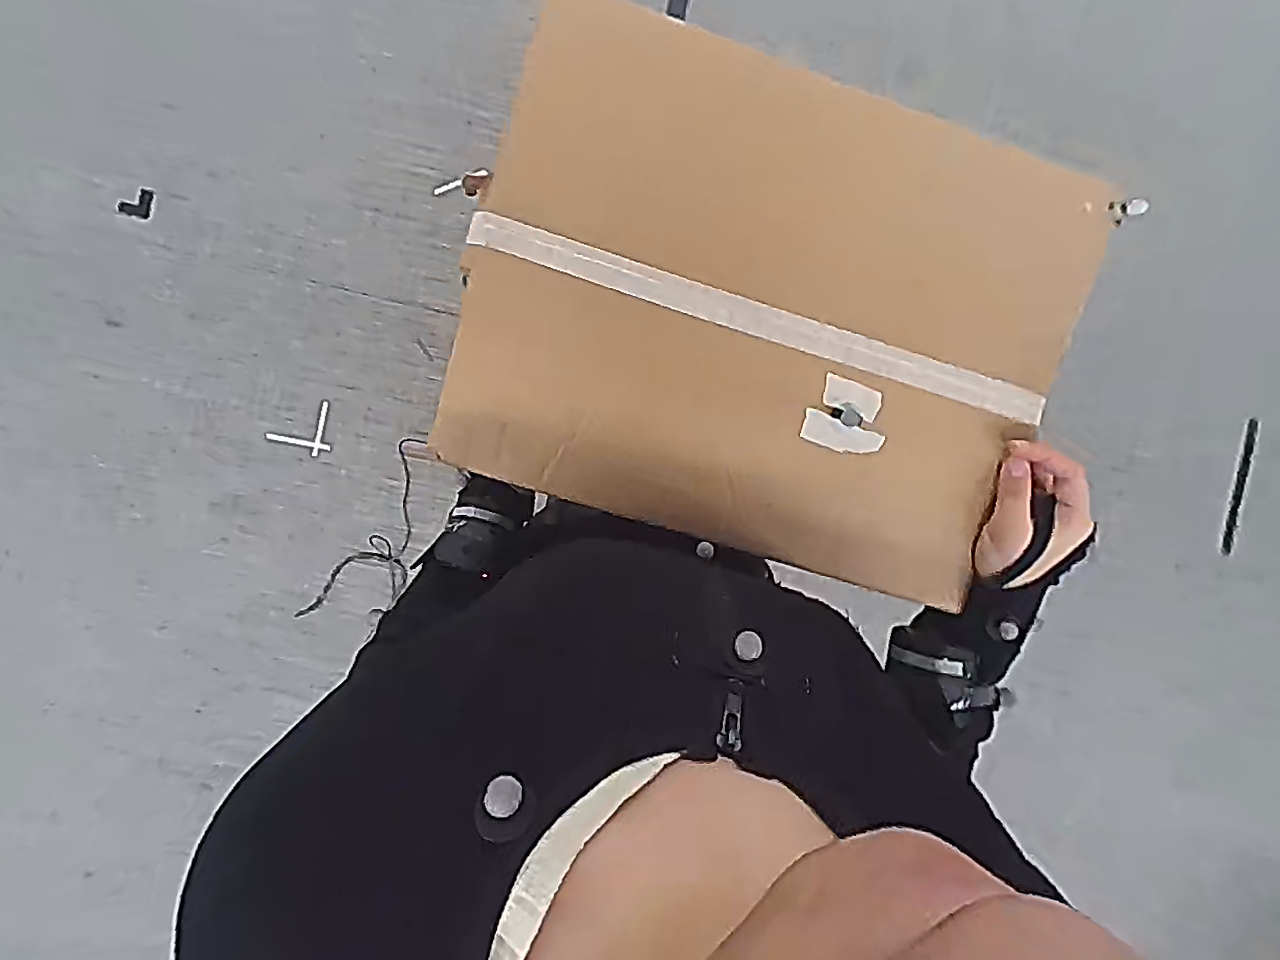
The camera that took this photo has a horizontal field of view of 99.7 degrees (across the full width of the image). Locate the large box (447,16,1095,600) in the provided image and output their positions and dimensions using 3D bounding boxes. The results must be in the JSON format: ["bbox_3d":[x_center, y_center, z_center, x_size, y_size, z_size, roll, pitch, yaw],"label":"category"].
[{"bbox_3d":[0.082,-0.122,0.526,0.408,0.320,0.320,16,97,-6],"label":"large box"}]
